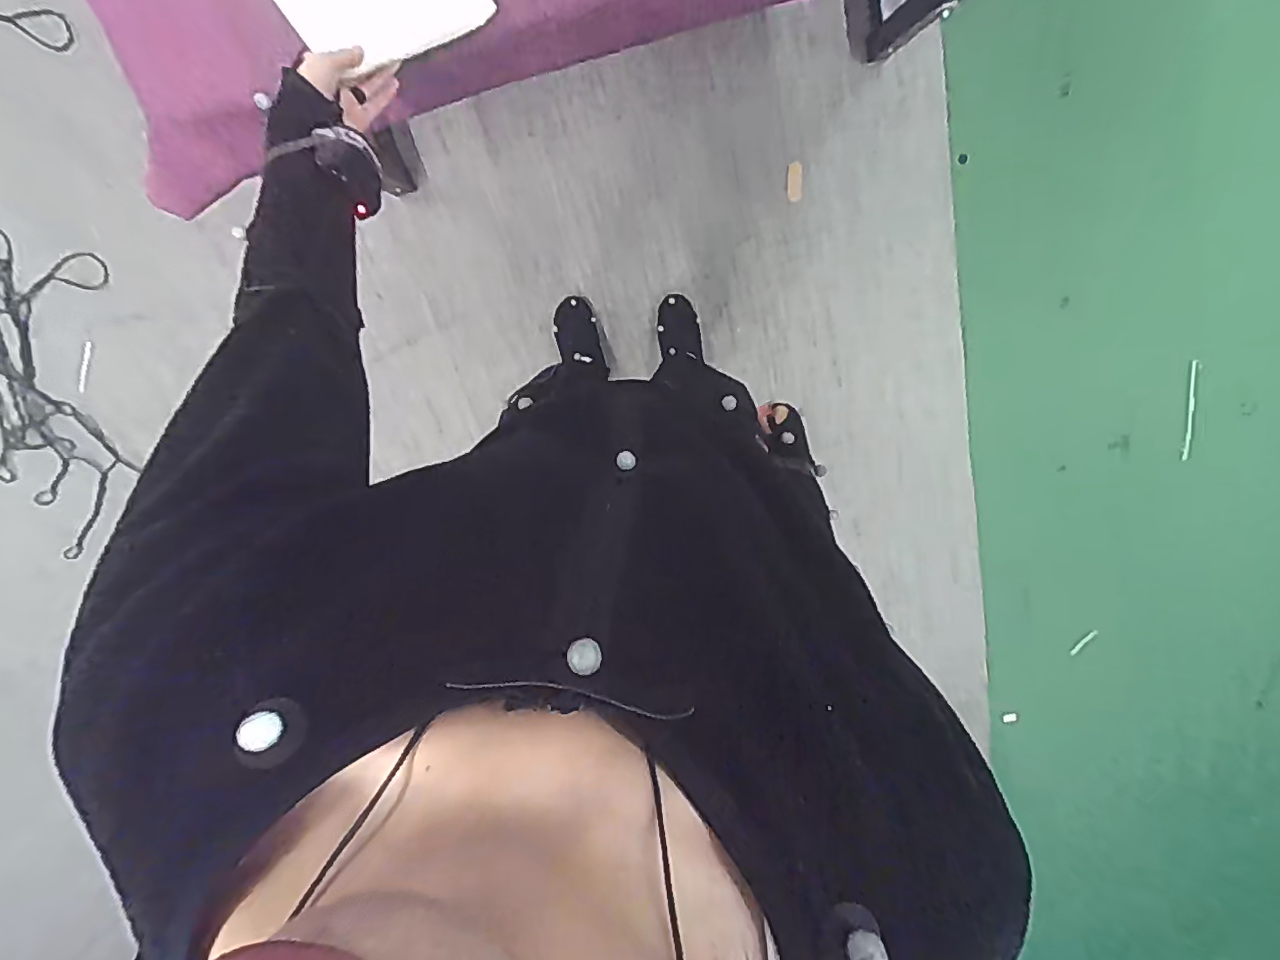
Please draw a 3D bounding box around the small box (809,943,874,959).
[{"bbox_3d":[0.553,1.340,1.388,0.168,0.176,0.179,-30,110,8],"label":"small box"}]

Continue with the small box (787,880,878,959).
[{"bbox_3d":[0.546,1.287,1.542,0.168,0.176,0.179,-30,109,8],"label":"small box"}]
